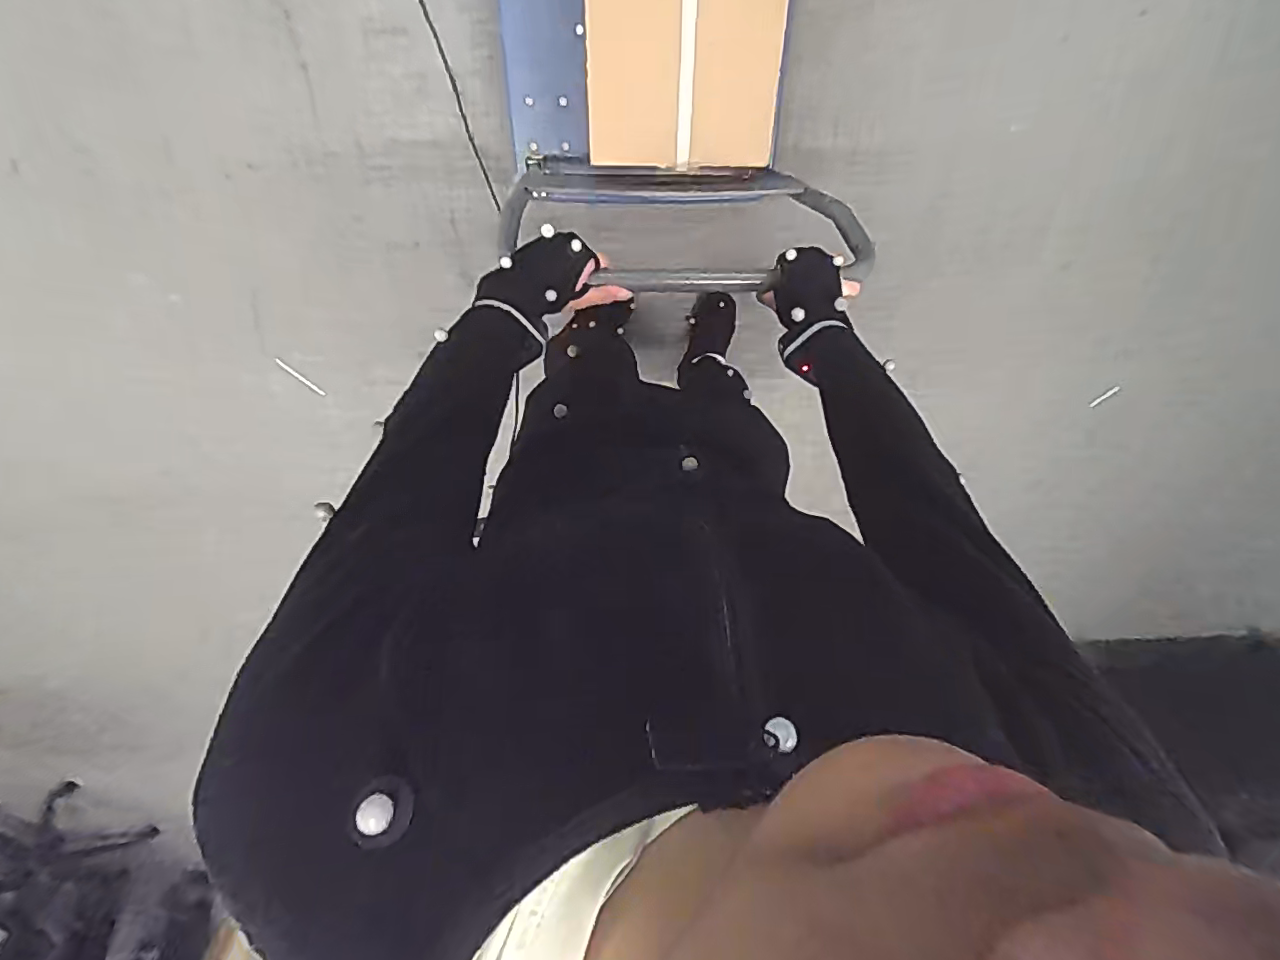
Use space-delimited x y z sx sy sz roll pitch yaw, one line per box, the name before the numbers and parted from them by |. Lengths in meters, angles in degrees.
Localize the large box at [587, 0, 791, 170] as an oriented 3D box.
large box | 0.068 -0.782 0.948 0.320 0.320 0.408 -2 122 -4
